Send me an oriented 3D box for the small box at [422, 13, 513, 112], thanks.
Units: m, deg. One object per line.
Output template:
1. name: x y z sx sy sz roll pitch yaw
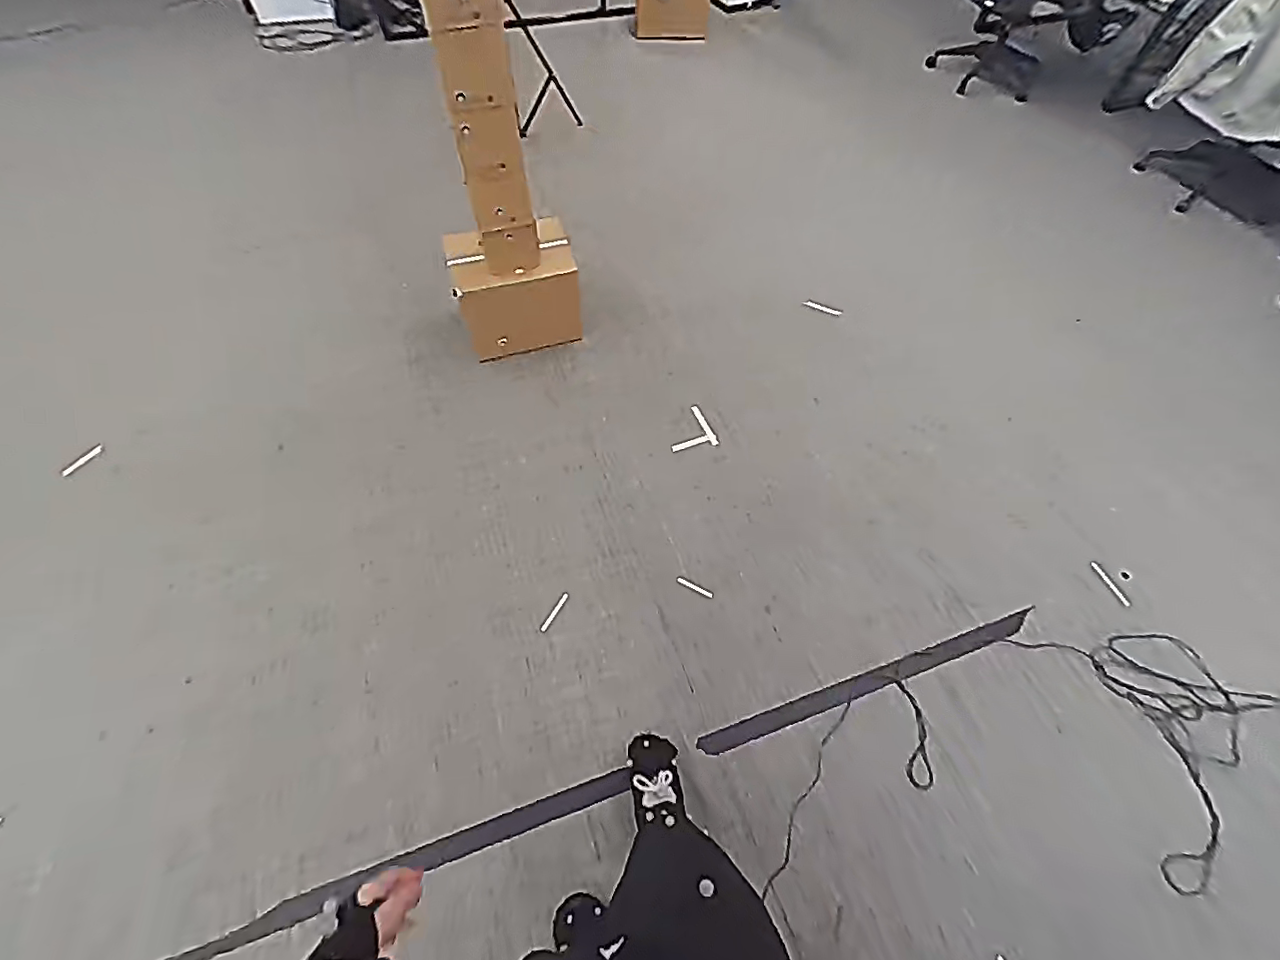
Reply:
1. small box: -0.416 -1.027 1.320 0.168 0.176 0.179 -15 60 -11

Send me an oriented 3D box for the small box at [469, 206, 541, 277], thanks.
1. small box: -0.432 -0.783 1.746 0.179 0.176 0.168 -17 62 -13

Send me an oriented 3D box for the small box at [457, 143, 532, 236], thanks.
1. small box: -0.428 -0.860 1.603 0.168 0.176 0.179 -17 62 -12

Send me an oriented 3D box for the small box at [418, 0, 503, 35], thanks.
1. small box: -0.411 -1.110 1.178 0.168 0.176 0.179 -18 62 -12
